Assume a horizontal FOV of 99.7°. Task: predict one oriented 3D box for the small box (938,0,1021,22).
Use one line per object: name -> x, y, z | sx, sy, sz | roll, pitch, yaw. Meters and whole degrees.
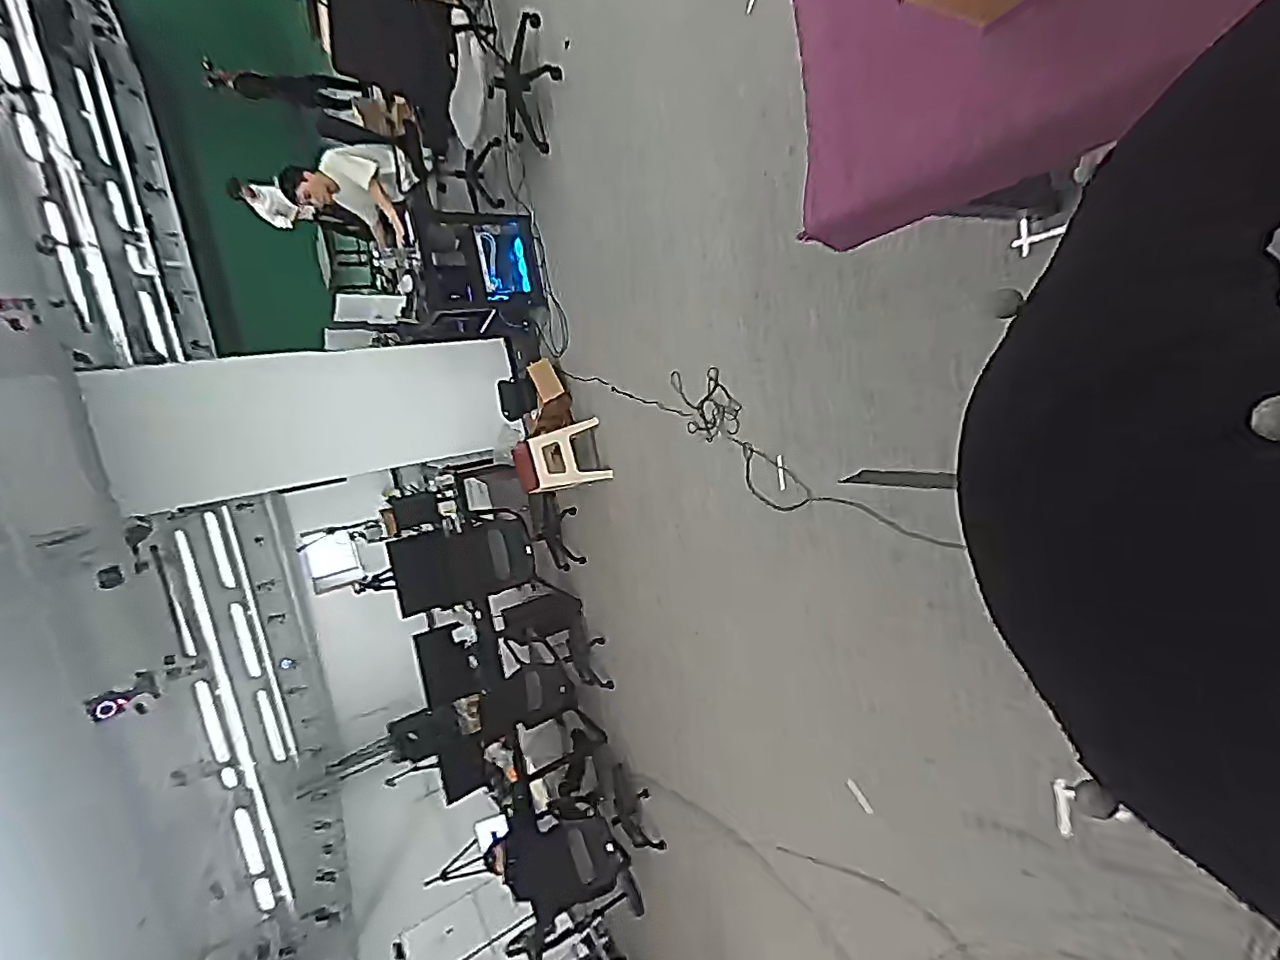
small box -> 0.376, -0.612, 0.538 | 0.179, 0.176, 0.168 | -2, 101, 58
